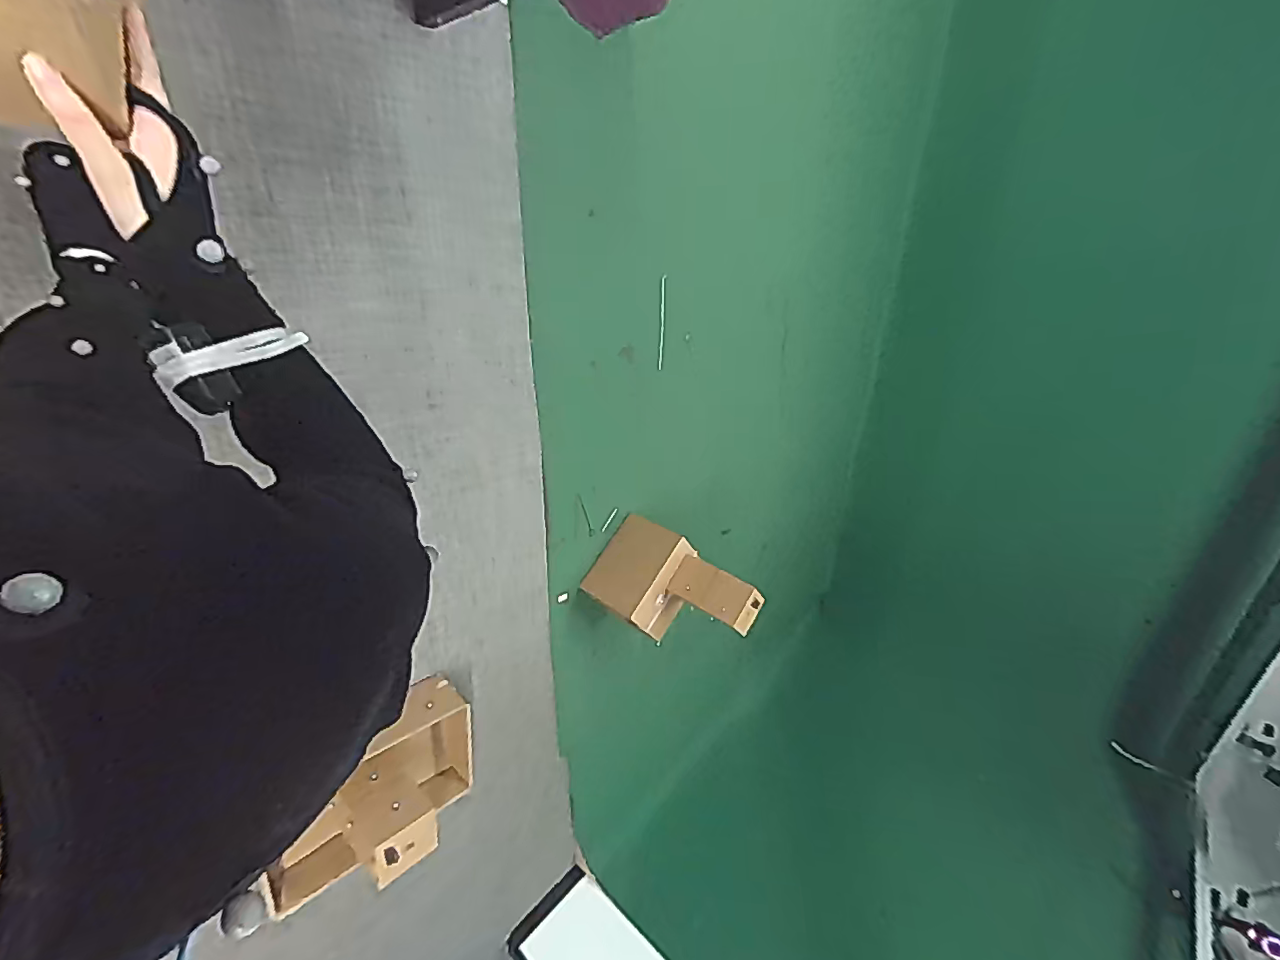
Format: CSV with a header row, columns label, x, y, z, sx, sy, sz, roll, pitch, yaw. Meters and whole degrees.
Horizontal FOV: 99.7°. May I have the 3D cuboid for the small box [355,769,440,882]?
label,x,y,z,sx,sy,sz,roll,pitch,yaw
small box,-0.705,0.988,1.563,0.179,0.176,0.168,-18,121,-47

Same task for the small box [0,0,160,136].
label,x,y,z,sx,sy,sz,roll,pitch,yaw
small box,-0.369,-0.323,0.264,0.168,0.179,0.176,-4,77,-27

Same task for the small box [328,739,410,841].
label,x,y,z,sx,sy,sz,roll,pitch,yaw
small box,-0.827,0.940,1.662,0.179,0.176,0.168,-18,120,-45
